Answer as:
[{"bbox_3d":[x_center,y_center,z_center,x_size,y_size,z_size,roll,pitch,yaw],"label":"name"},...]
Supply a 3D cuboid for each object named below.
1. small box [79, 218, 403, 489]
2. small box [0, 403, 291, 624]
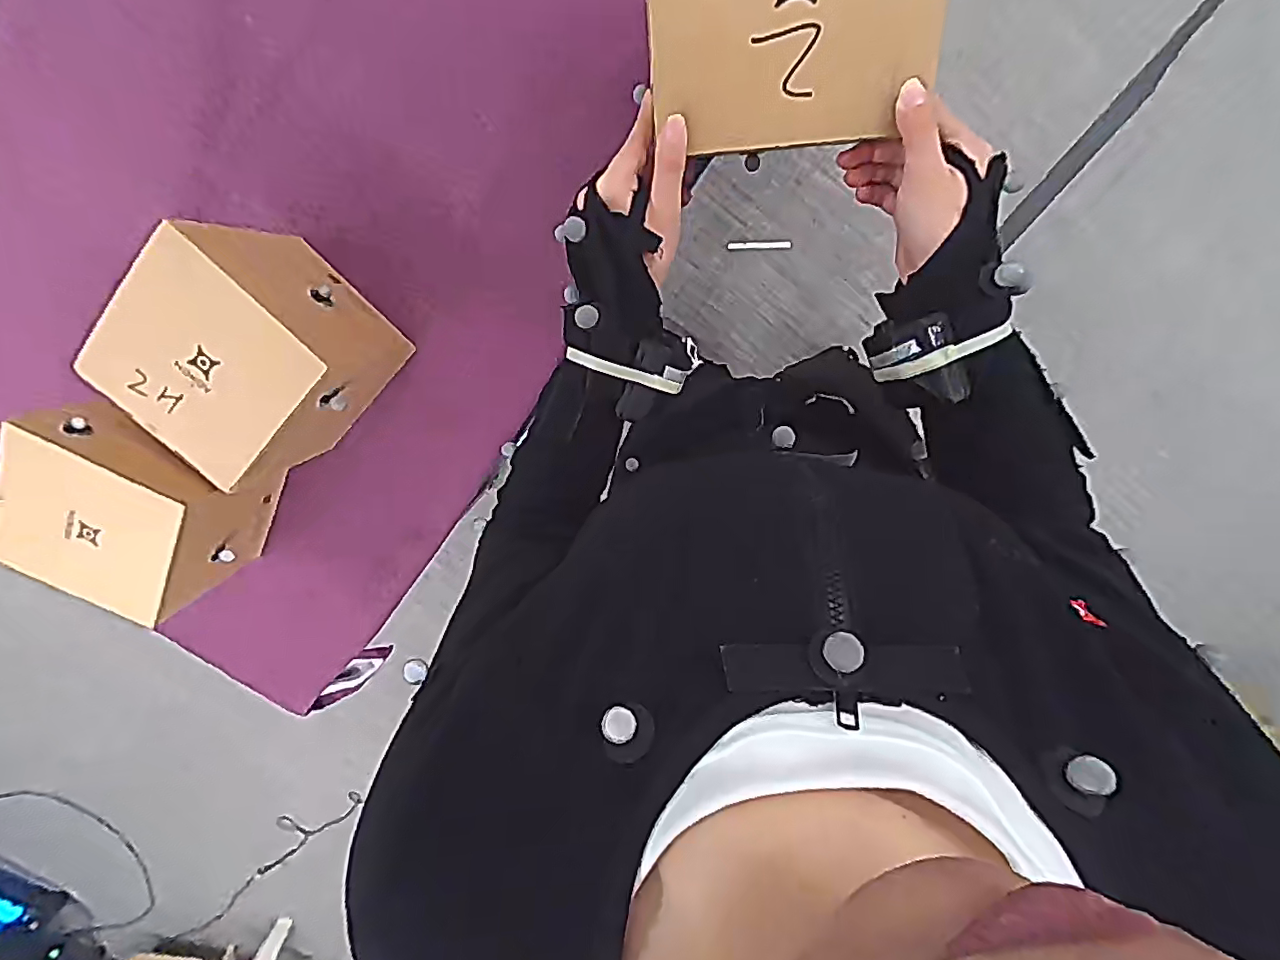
[{"bbox_3d":[-0.373,-0.127,0.544,0.179,0.176,0.168,-42,101,16],"label":"small box"},{"bbox_3d":[-0.540,0.021,0.609,0.179,0.176,0.168,27,109,-6],"label":"small box"}]
